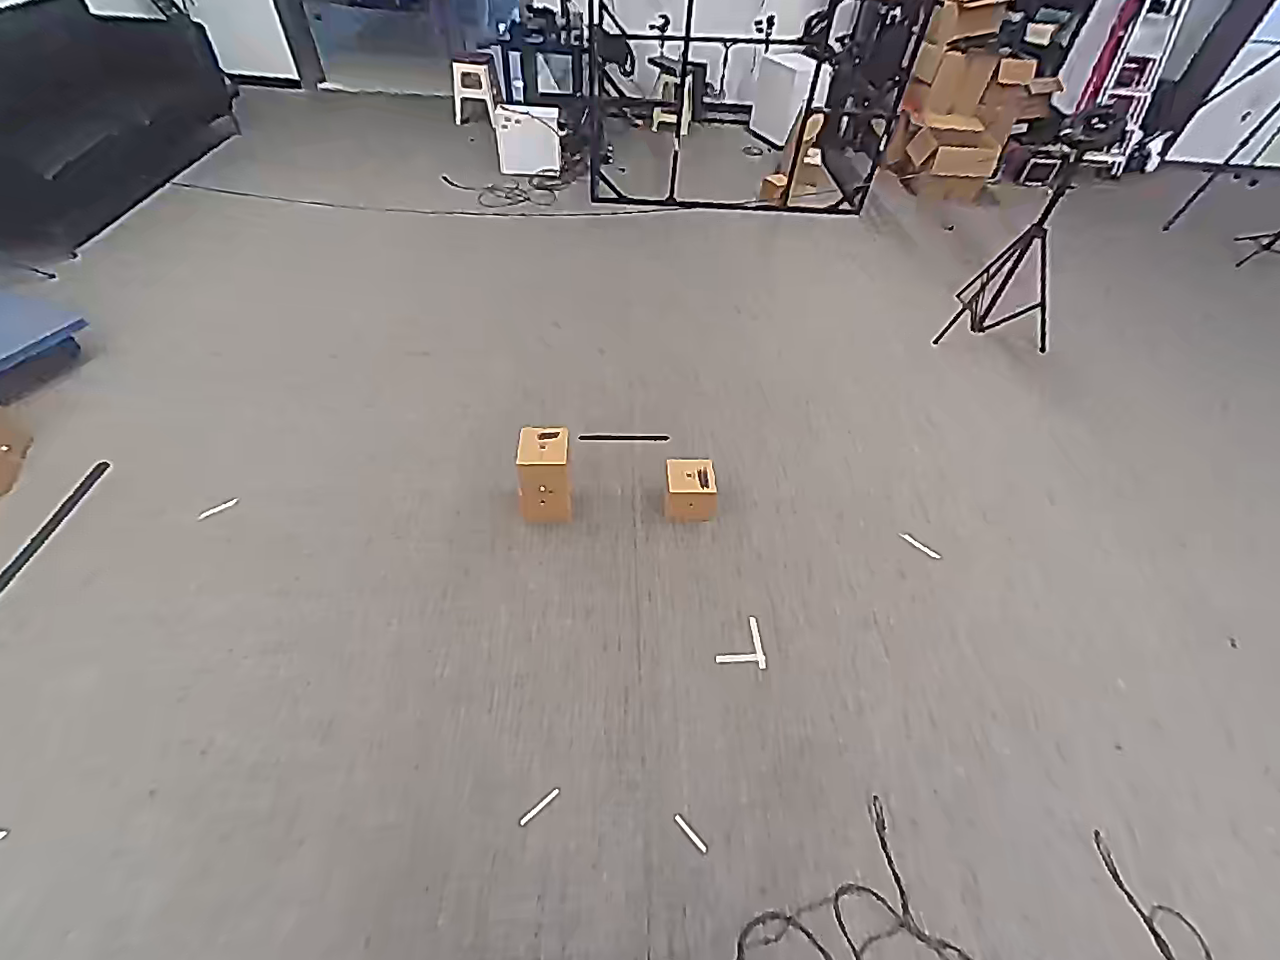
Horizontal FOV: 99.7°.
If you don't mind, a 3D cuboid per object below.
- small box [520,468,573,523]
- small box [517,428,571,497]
[{"bbox_3d":[-0.344,0.050,2.014,0.179,0.176,0.168,0,49,-3],"label":"small box"},{"bbox_3d":[-0.330,-0.060,1.893,0.168,0.176,0.179,0,50,-3],"label":"small box"}]
